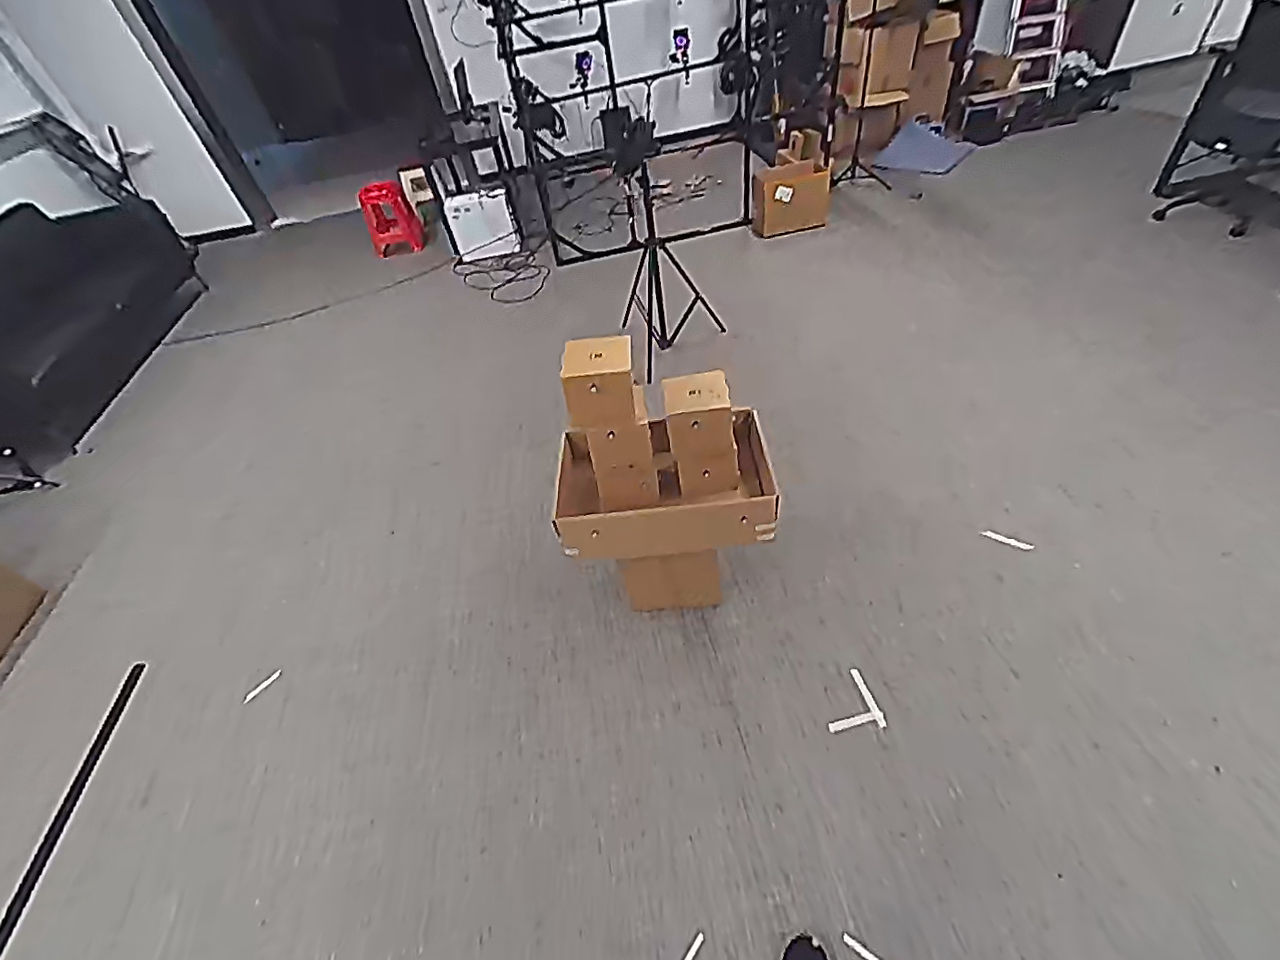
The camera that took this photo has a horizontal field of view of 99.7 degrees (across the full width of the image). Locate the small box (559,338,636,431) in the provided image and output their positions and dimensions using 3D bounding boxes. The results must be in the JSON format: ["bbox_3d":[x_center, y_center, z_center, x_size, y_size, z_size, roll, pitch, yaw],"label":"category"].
[{"bbox_3d":[-0.102,-0.245,1.401,0.179,0.176,0.168,-6,45,4],"label":"small box"}]
